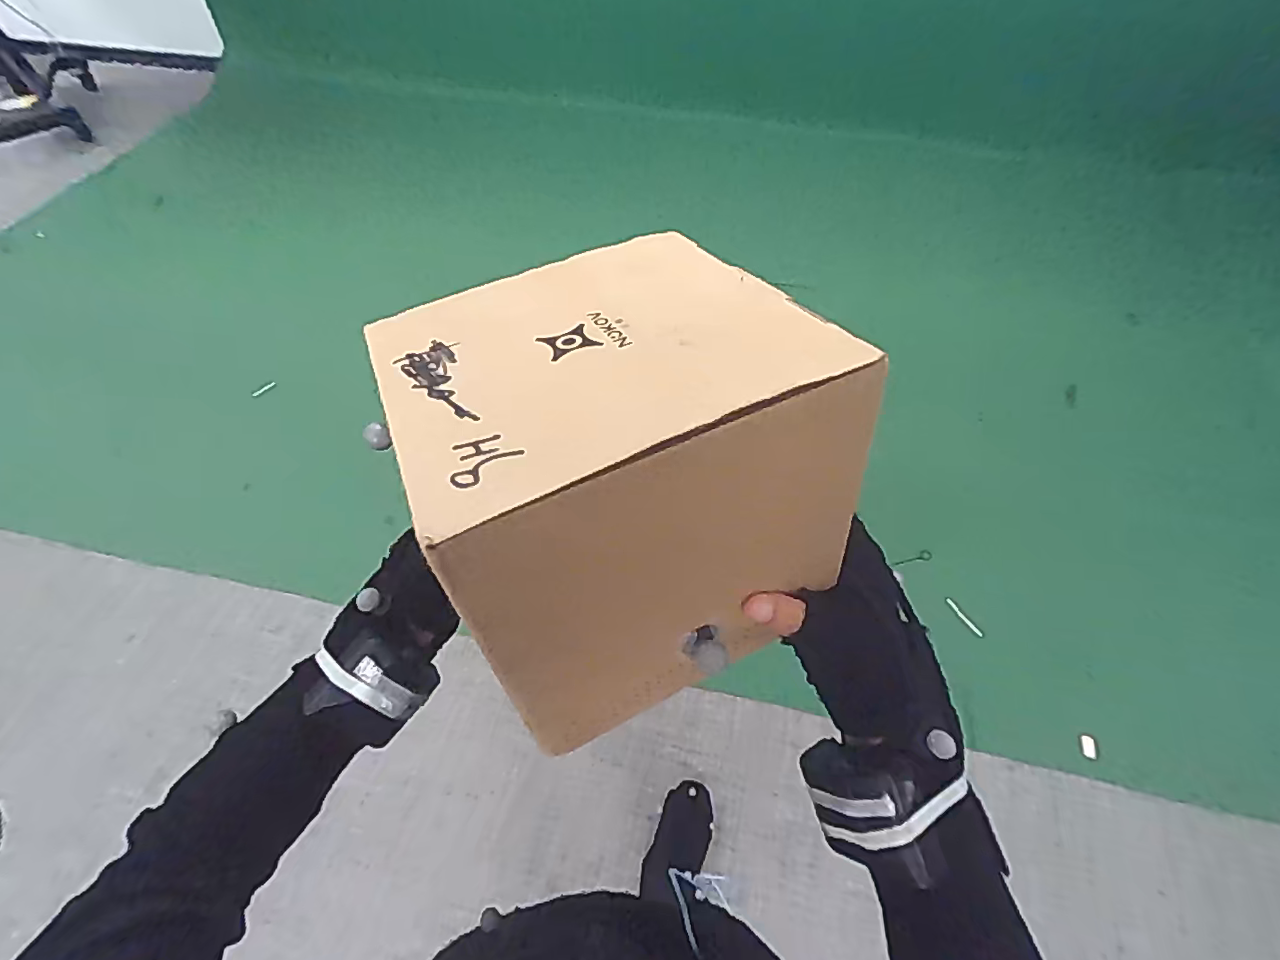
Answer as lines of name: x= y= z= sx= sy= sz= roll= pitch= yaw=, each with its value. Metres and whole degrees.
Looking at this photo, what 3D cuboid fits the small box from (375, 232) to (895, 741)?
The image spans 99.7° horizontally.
small box: x=-0.010 y=-0.004 z=0.284 sx=0.179 sy=0.176 sz=0.168 roll=-22 pitch=44 yaw=-16
